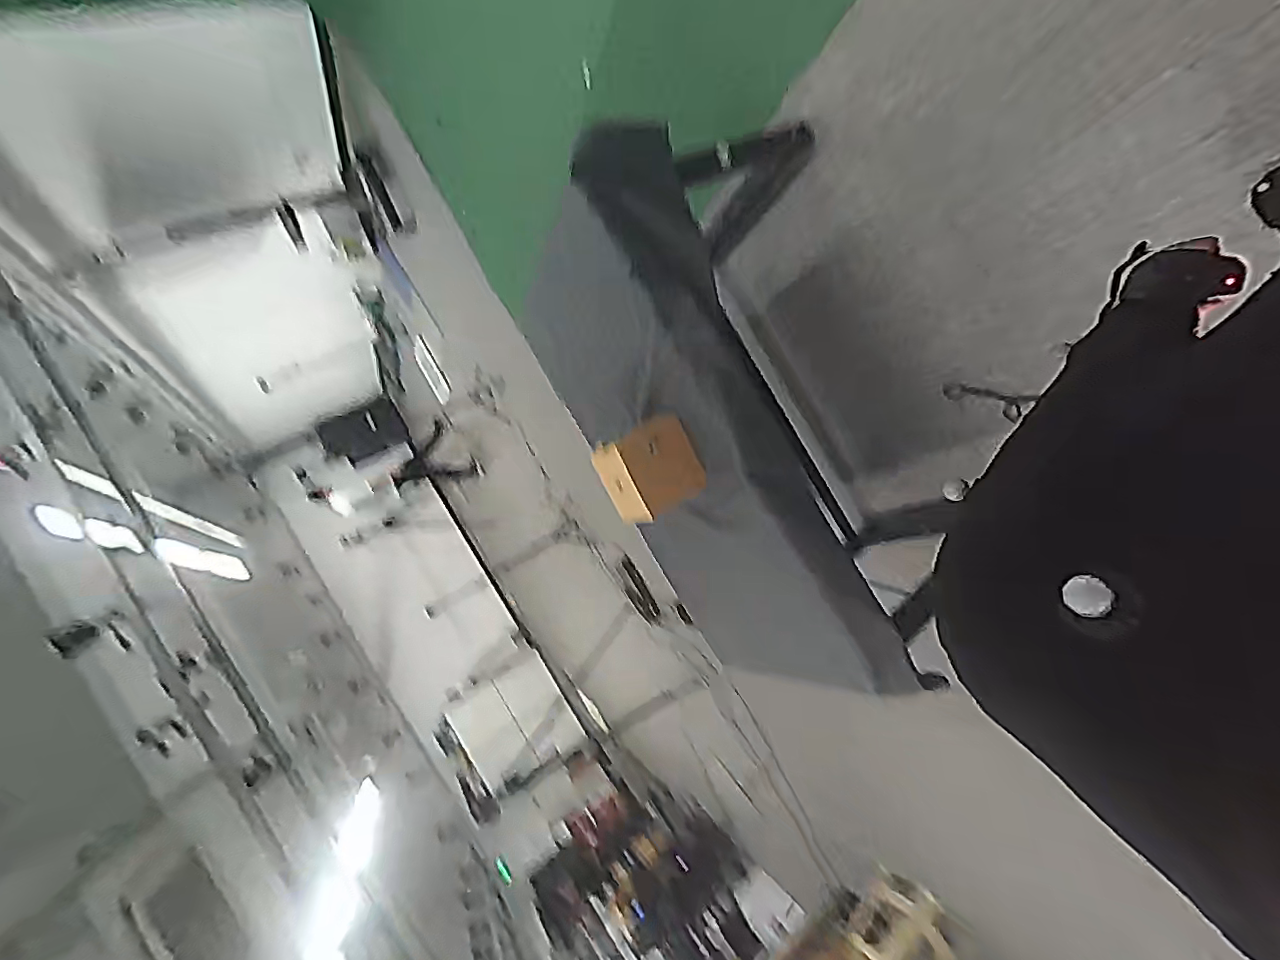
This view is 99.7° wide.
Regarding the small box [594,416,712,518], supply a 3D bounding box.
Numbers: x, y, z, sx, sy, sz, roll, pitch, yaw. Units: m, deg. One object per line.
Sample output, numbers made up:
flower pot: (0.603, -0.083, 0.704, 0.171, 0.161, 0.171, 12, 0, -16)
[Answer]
small box: (0.030, -0.031, 1.226, 0.179, 0.176, 0.168, 61, 156, -7)
